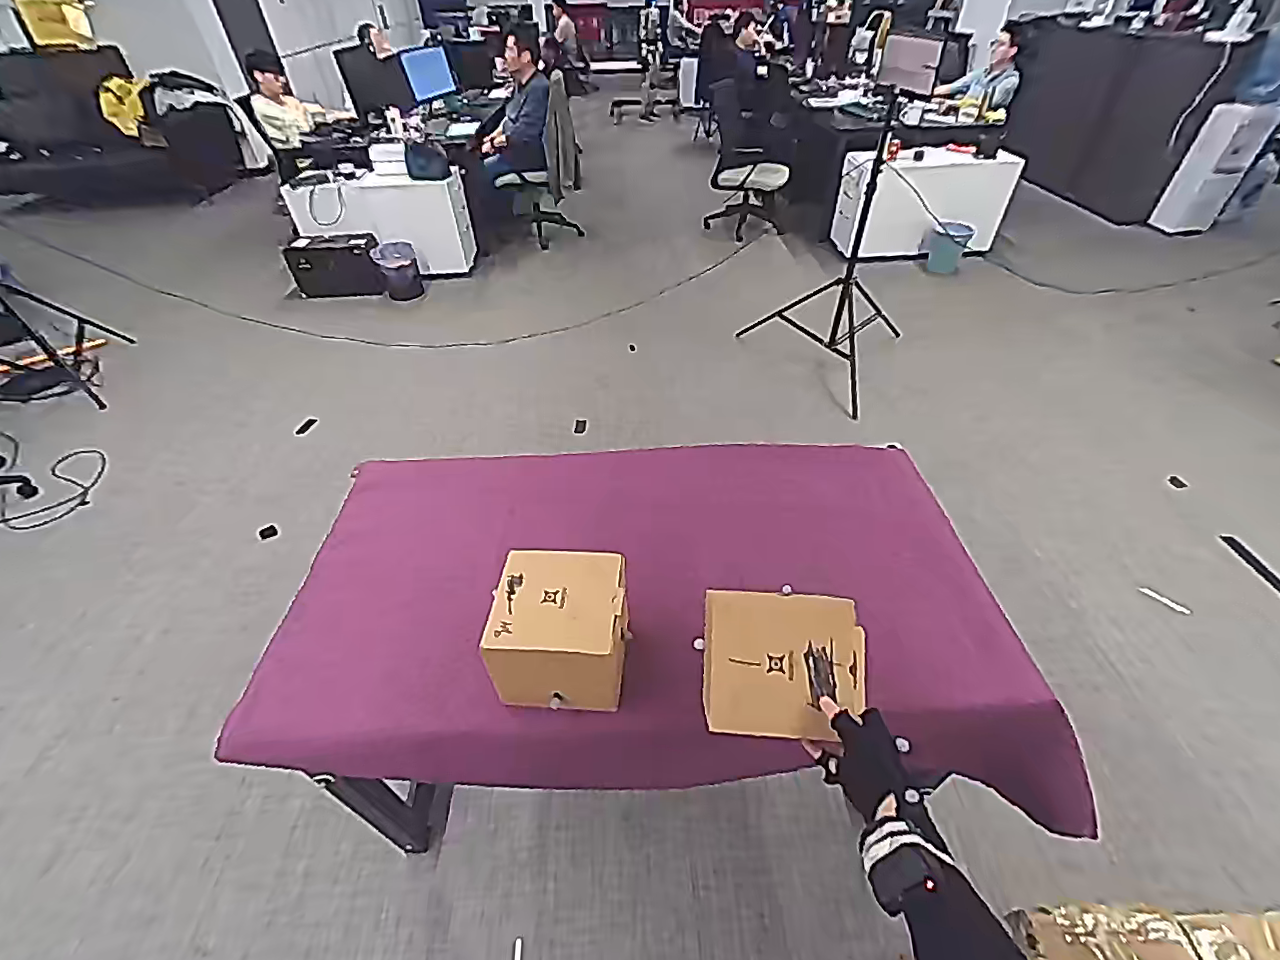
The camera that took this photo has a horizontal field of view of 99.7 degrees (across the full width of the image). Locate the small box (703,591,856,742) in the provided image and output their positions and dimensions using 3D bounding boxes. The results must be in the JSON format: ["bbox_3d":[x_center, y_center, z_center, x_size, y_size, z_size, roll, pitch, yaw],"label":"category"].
[{"bbox_3d":[0.179,0.241,0.737,0.179,0.176,0.168,3,79,6],"label":"small box"}]

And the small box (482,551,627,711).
[{"bbox_3d":[-0.114,0.228,0.810,0.179,0.176,0.168,3,42,3],"label":"small box"}]
